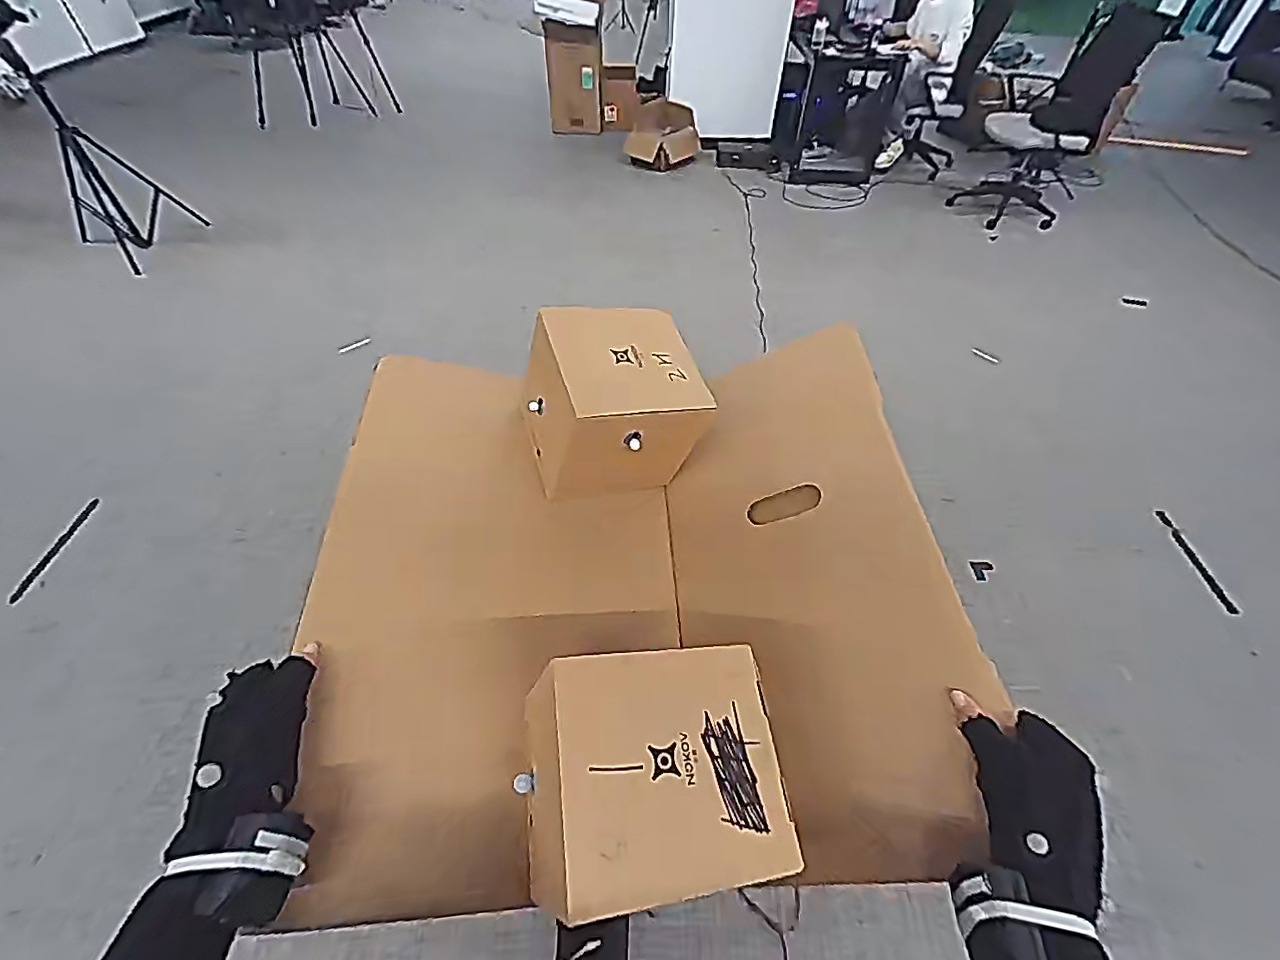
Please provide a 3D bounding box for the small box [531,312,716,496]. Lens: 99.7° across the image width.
[{"bbox_3d":[-0.036,-0.092,0.691,0.179,0.176,0.168,-6,60,-25],"label":"small box"}]
